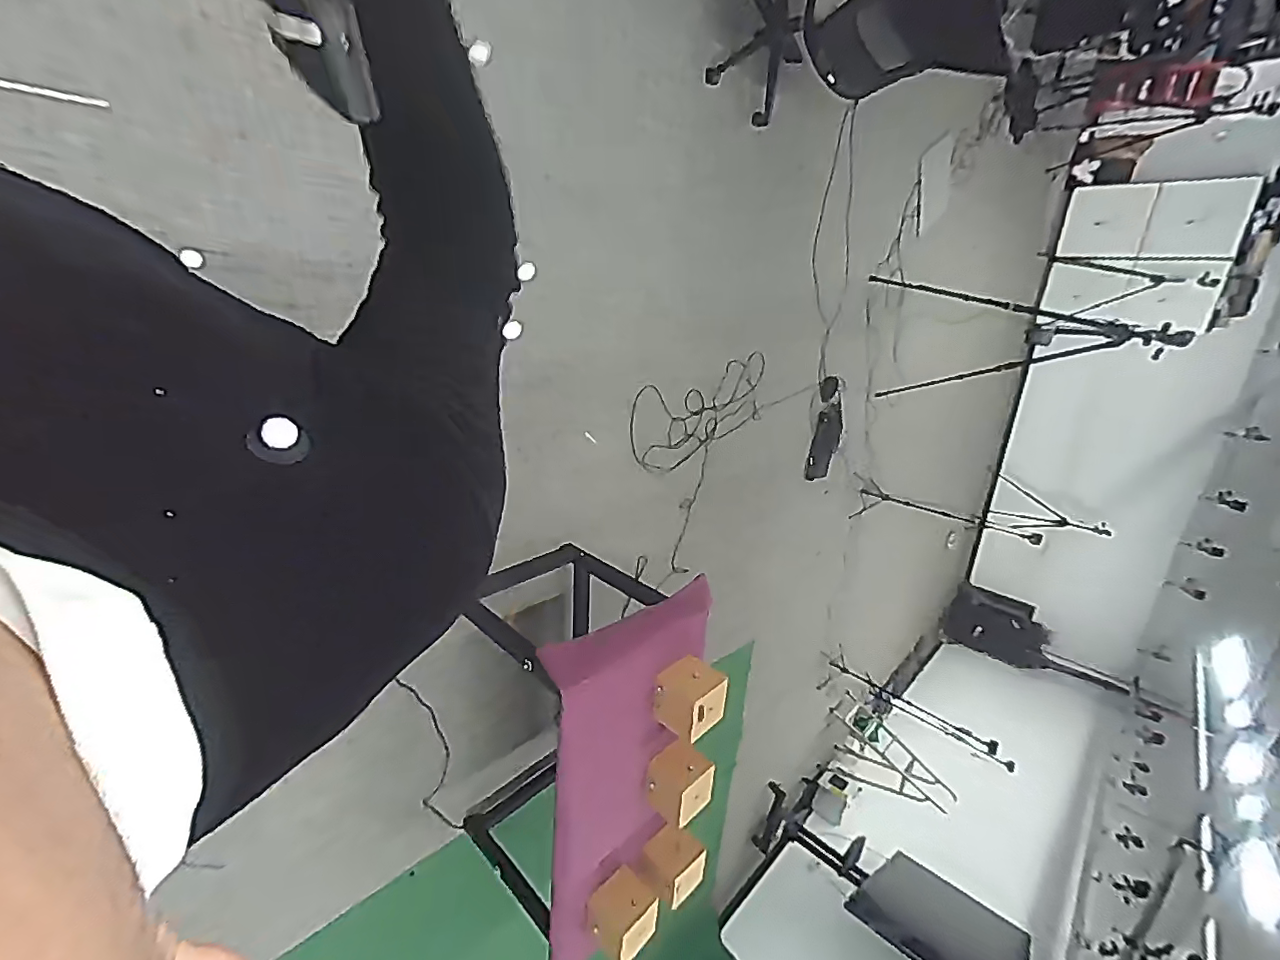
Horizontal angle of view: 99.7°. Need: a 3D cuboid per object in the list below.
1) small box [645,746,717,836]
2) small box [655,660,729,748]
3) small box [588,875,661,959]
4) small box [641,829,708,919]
[{"bbox_3d":[0.140,1.063,1.869,0.179,0.176,0.168,-13,114,-44],"label":"small box"},{"bbox_3d":[0.164,0.723,1.761,0.179,0.176,0.168,-16,116,-44],"label":"small box"},{"bbox_3d":[-0.053,1.488,1.814,0.179,0.176,0.168,-13,113,-46],"label":"small box"},{"bbox_3d":[0.128,1.444,1.999,0.179,0.176,0.168,-15,114,-44],"label":"small box"}]
